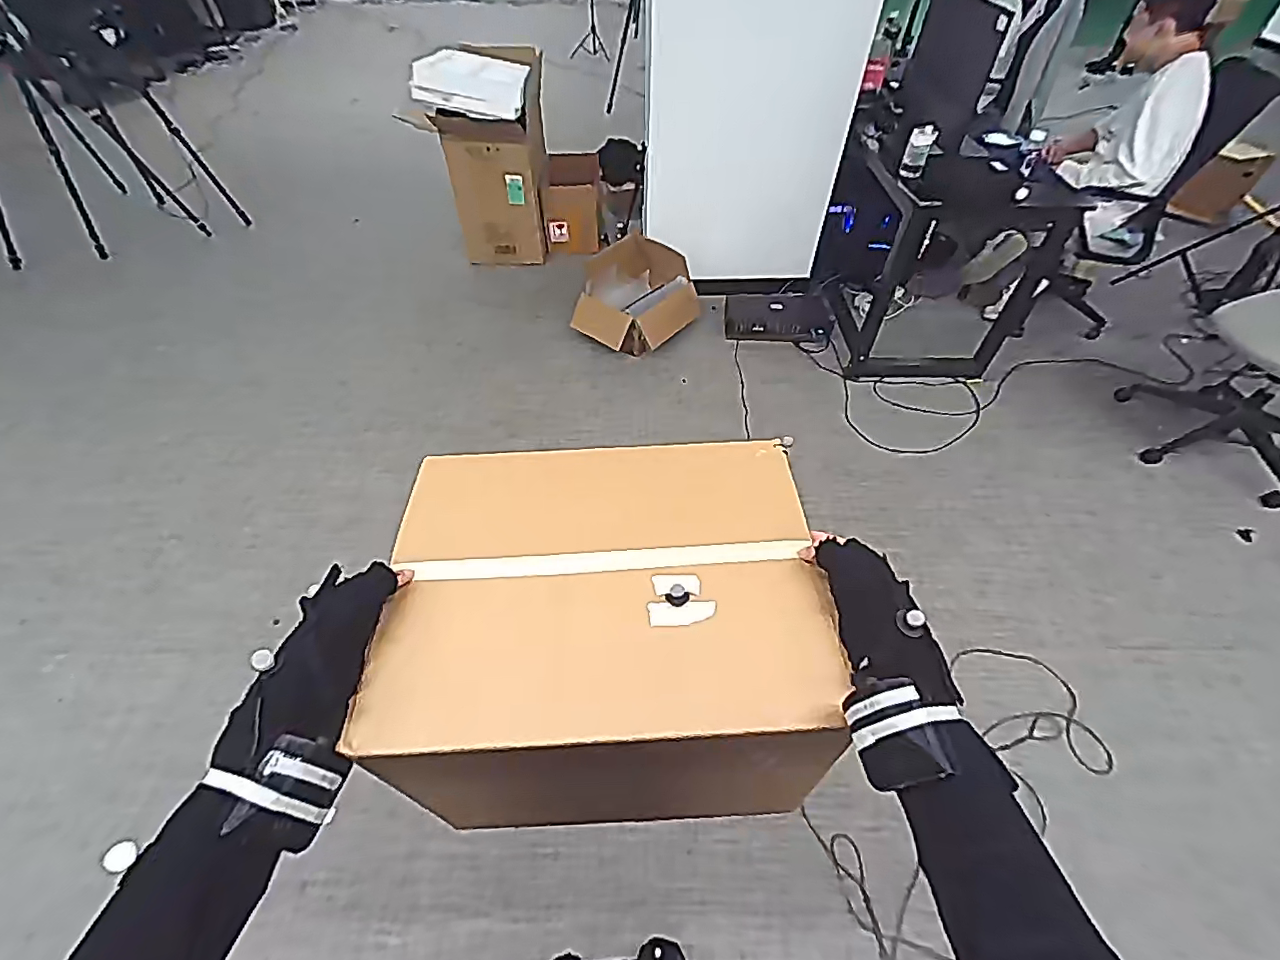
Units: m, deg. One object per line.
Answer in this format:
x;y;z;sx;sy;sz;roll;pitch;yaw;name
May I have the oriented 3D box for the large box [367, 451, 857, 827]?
-0.027;0.189;0.638;0.408;0.320;0.320;-3;48;-1;large box
